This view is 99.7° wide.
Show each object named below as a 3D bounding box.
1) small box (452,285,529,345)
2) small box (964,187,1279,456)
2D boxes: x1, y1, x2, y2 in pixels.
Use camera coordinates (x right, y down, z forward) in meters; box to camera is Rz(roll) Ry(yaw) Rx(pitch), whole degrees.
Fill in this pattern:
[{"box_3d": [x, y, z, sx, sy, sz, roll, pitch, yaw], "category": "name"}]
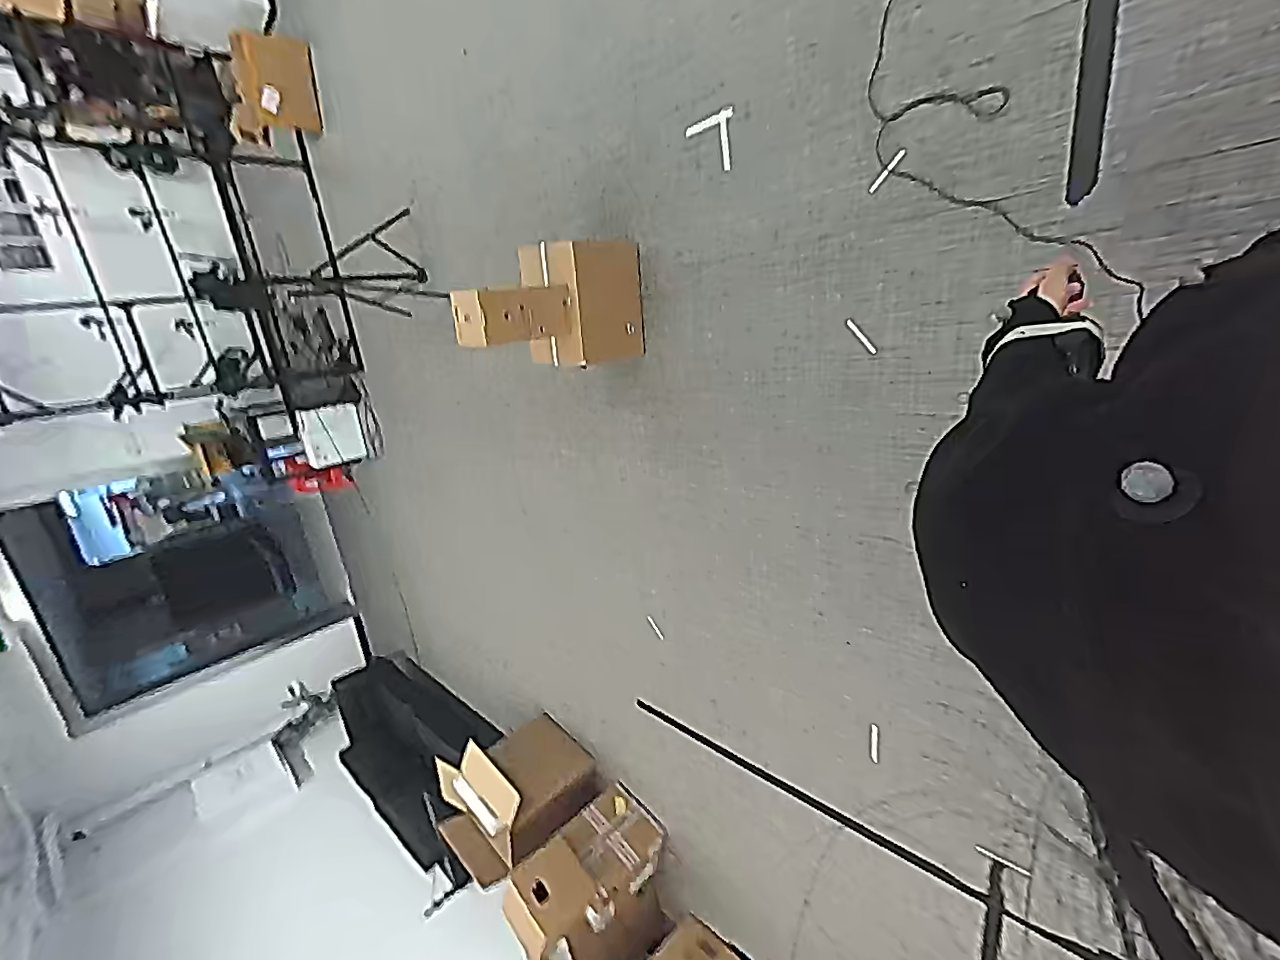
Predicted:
[{"box_3d": [-0.465, -0.527, 1.718, 0.179, 0.176, 0.168, 15, 117, 41], "category": "small box"}, {"box_3d": [0.483, -0.161, 0.549, 0.176, 0.168, 0.179, 52, 163, 13], "category": "small box"}]
